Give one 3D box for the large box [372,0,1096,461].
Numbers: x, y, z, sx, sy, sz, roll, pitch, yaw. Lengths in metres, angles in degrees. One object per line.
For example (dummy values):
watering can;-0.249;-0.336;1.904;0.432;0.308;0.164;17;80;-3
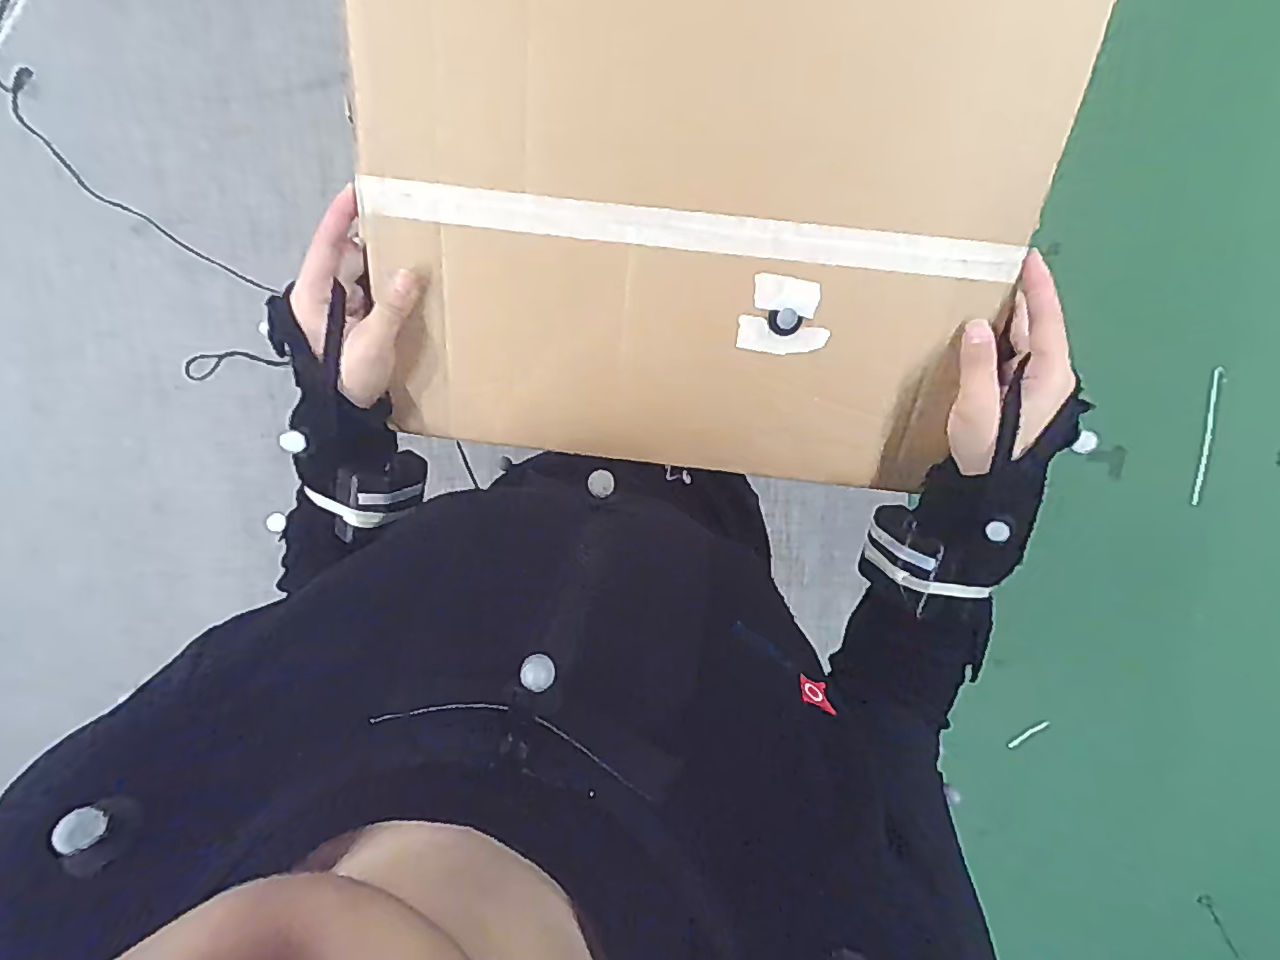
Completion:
large box;0.043;-0.228;0.475;0.408;0.320;0.320;6;115;-1
